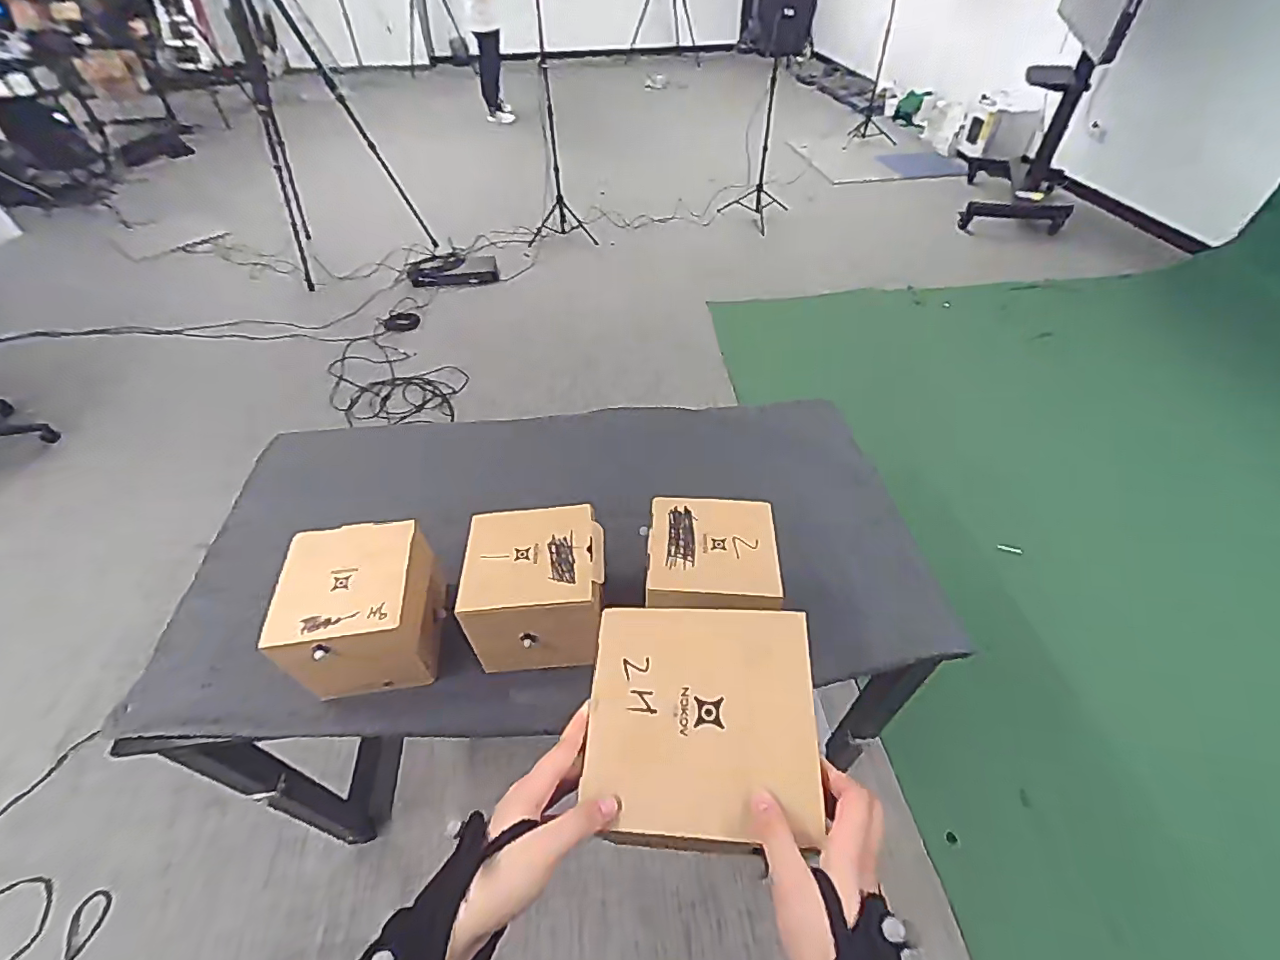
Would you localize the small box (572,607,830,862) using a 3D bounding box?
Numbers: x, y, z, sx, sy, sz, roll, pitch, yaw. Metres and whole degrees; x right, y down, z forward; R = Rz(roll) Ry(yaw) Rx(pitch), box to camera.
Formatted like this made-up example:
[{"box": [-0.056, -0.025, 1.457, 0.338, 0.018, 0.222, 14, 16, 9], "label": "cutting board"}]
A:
[{"box": [0.058, 0.224, 0.472, 0.179, 0.176, 0.168, -1, 53, 11], "label": "small box"}]

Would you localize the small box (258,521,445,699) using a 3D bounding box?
[{"box": [-0.386, 0.183, 0.767, 0.168, 0.176, 0.179, -7, 47, -4], "label": "small box"}]
